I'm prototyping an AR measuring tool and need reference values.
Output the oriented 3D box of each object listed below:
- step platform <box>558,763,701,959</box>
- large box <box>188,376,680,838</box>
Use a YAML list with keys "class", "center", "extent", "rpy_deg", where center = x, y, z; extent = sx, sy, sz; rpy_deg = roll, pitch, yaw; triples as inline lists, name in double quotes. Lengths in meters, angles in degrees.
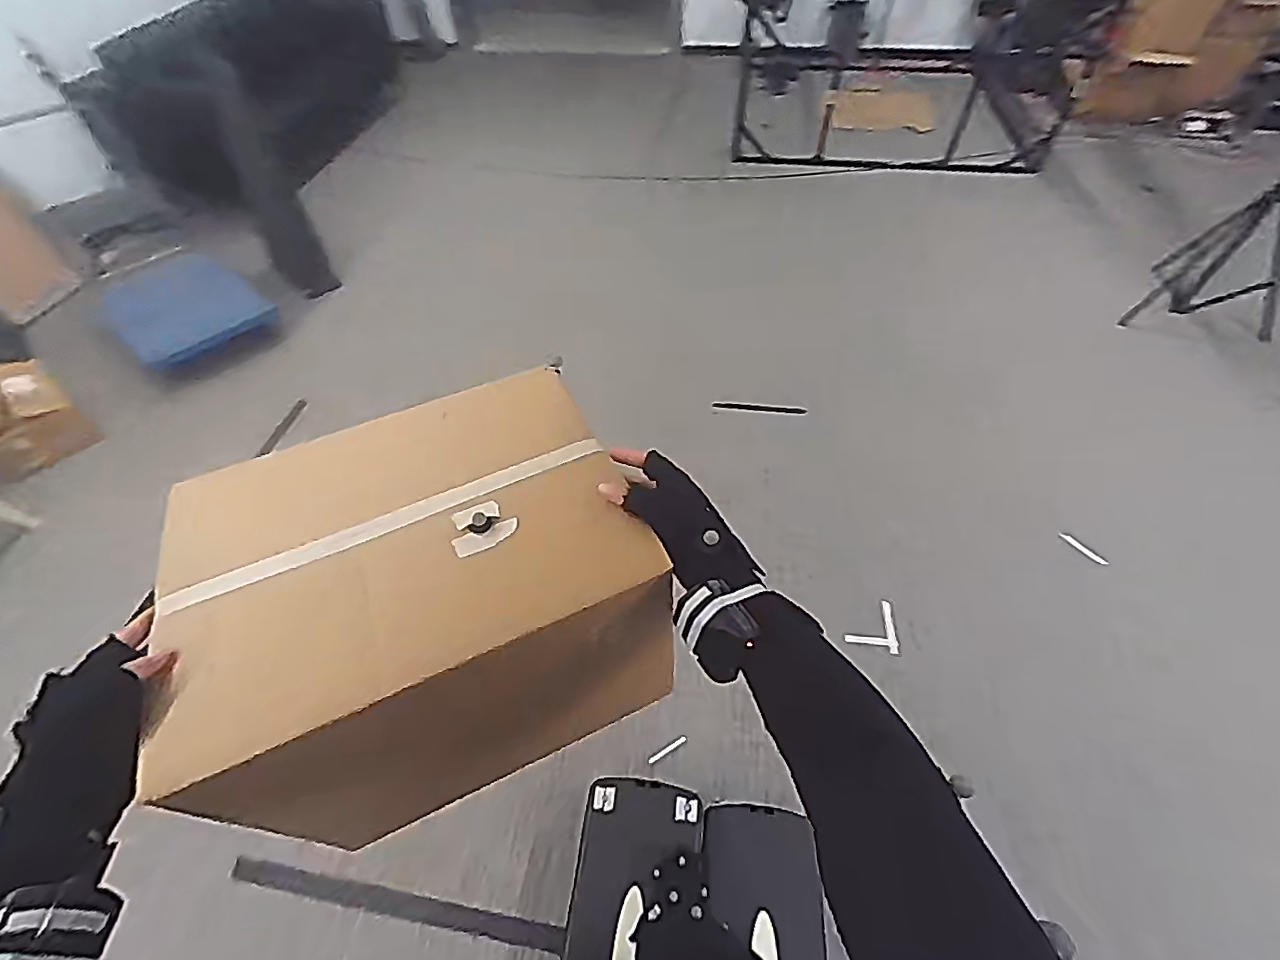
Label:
- class: "step platform"
  center: [-0.026, 1.016, 1.199]
  extent: [0.286, 0.204, 0.684]
  rpy_deg: [5, 51, 6]
- class: "large box"
  center: [-0.199, 0.139, 0.632]
  extent: [0.408, 0.320, 0.320]
  rpy_deg: [-20, 52, -14]
